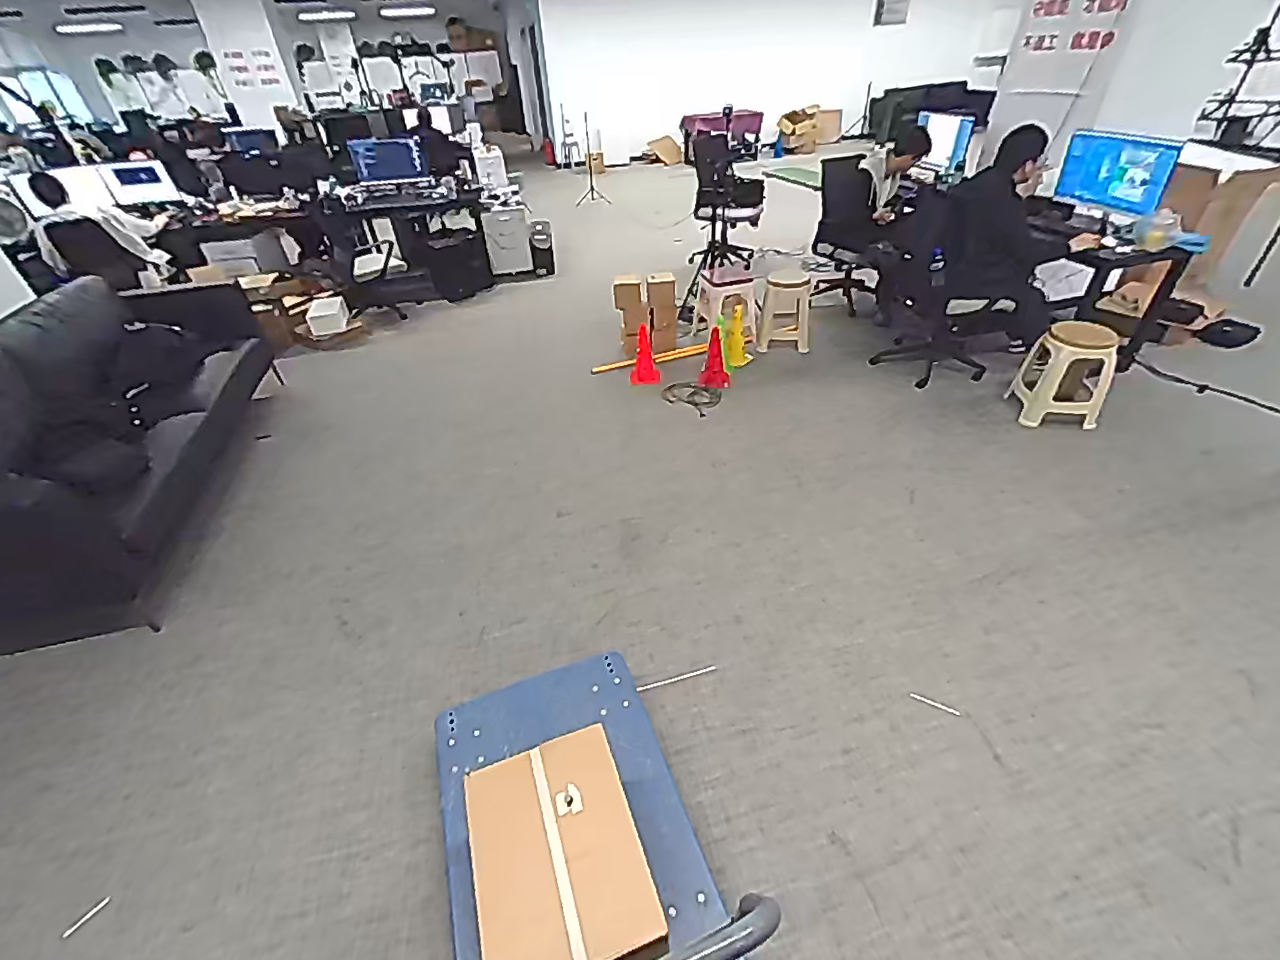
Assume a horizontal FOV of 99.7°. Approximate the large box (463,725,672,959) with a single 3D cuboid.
[{"bbox_3d":[-0.153,0.822,1.131,0.320,0.320,0.408,-15,39,-15],"label":"large box"}]
